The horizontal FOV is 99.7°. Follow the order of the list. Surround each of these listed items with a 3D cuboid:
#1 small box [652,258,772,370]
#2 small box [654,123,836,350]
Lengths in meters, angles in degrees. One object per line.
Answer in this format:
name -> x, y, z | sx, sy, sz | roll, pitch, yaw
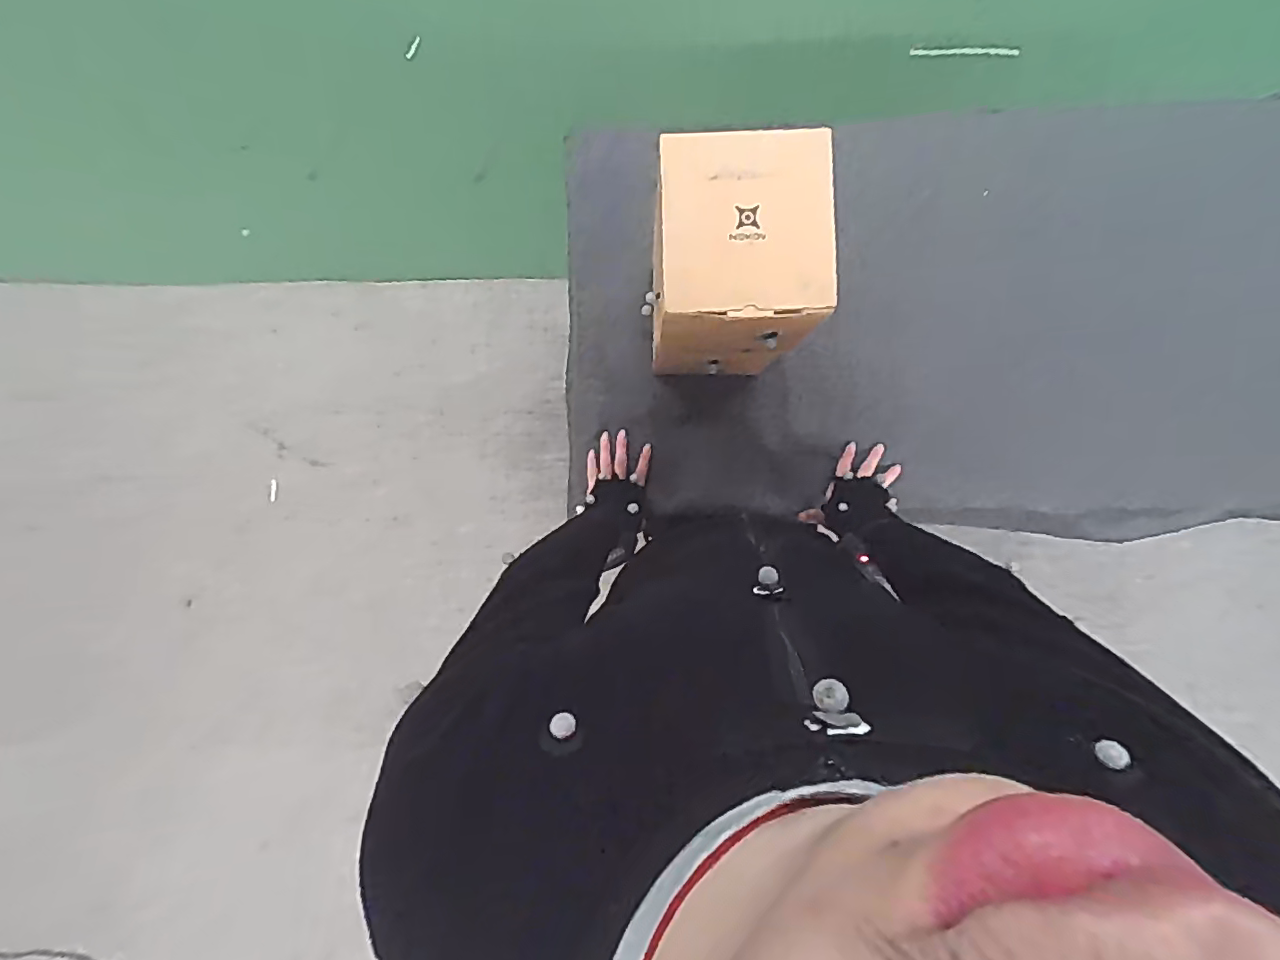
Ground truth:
small box -> 0.102, -0.253, 0.749 | 0.168, 0.176, 0.179 | 0, 88, 0
small box -> 0.100, -0.245, 0.586 | 0.168, 0.176, 0.179 | -2, 87, 0
